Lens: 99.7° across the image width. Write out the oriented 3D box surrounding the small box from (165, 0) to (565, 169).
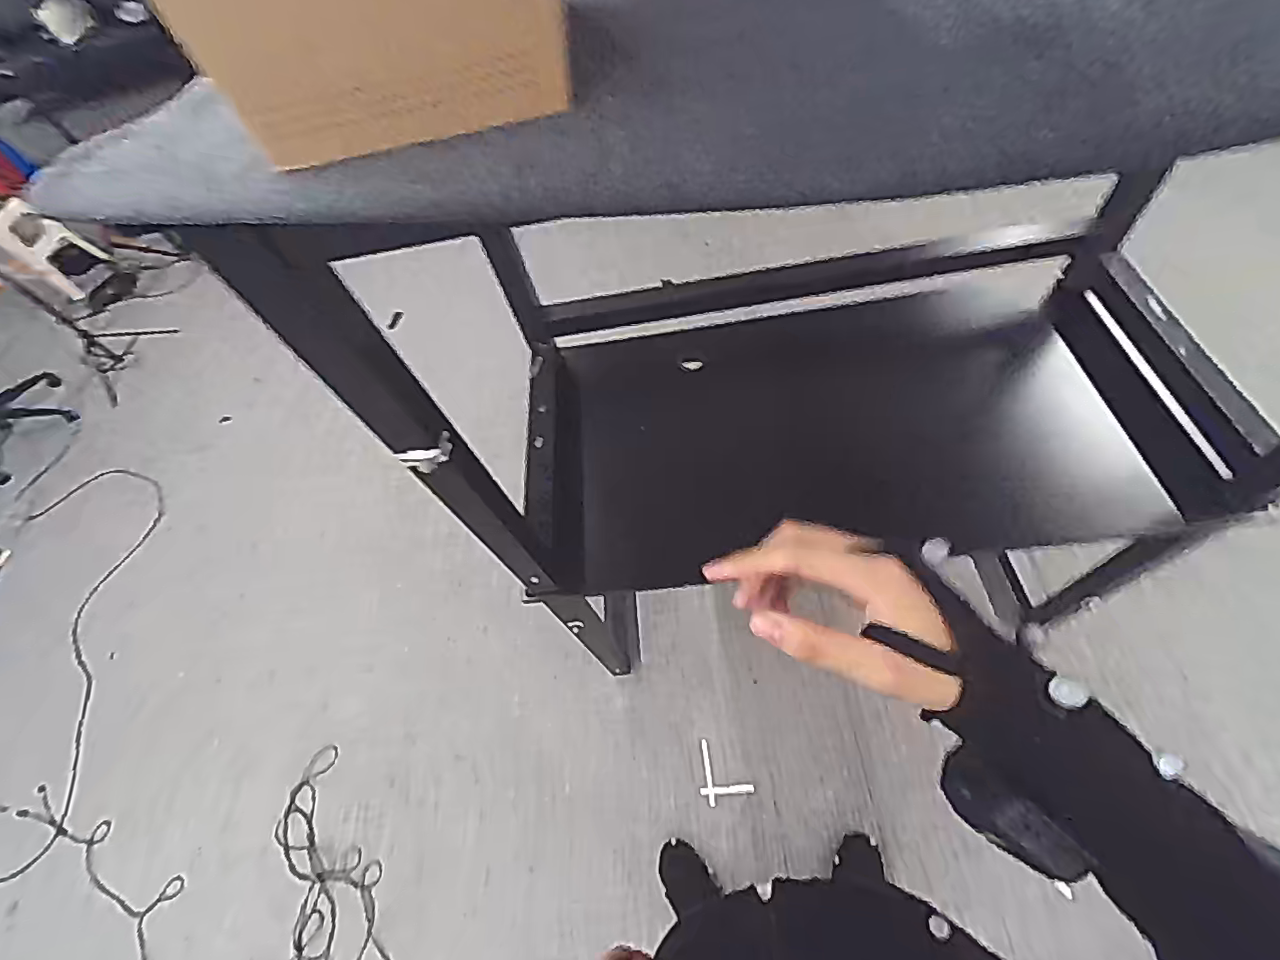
[{"bbox_3d":[-0.140,-0.298,0.282,0.179,0.176,0.168,-9,57,4],"label":"small box"}]
